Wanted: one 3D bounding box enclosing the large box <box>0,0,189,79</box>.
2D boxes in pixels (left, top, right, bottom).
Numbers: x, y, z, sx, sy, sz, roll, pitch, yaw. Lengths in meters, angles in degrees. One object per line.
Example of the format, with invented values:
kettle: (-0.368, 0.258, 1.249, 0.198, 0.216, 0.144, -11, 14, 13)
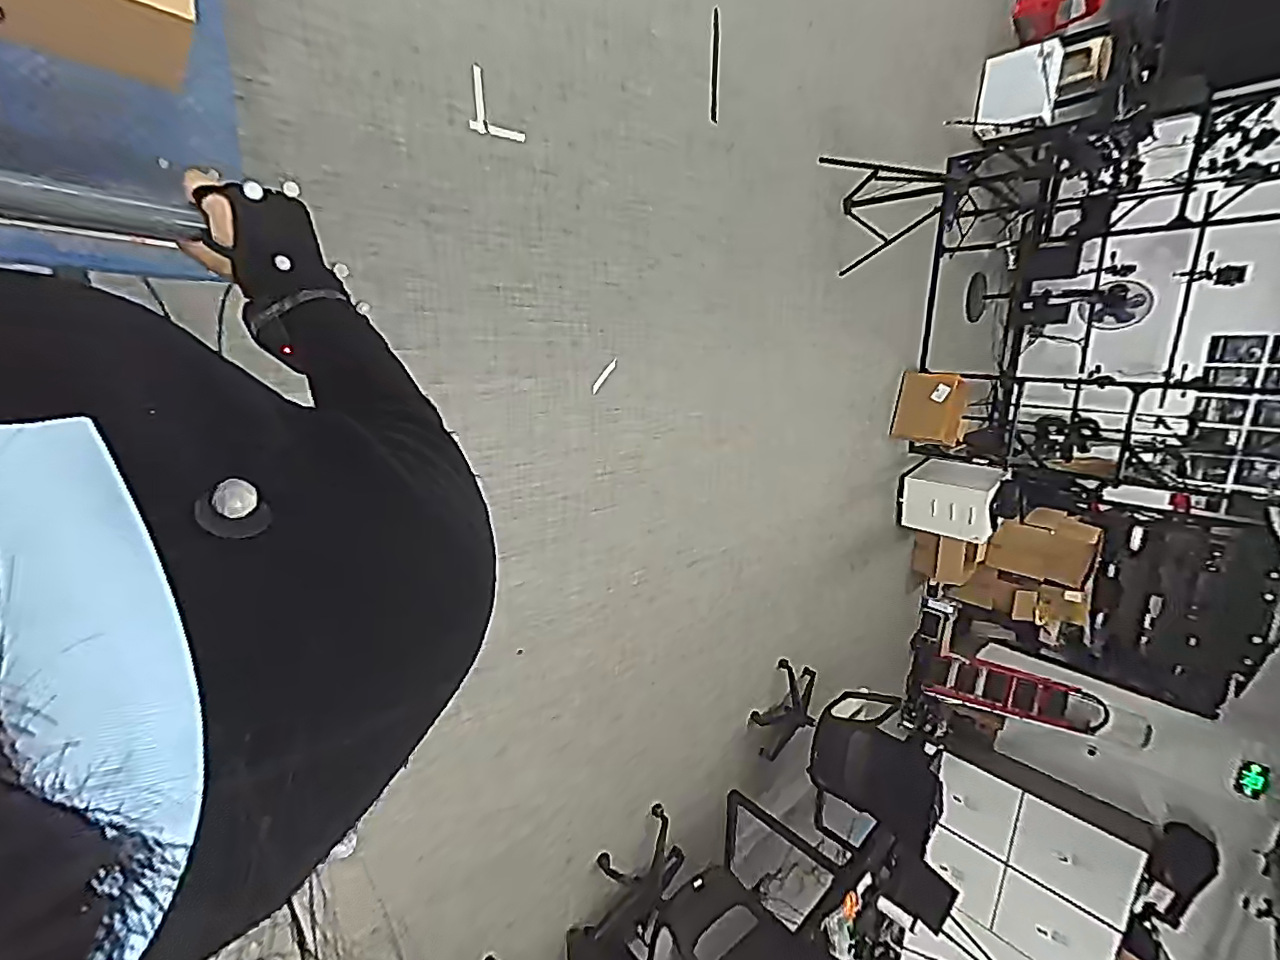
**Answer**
large box: (-0.857, -0.794, 0.684, 0.408, 0.320, 0.320, -8, 106, -42)
